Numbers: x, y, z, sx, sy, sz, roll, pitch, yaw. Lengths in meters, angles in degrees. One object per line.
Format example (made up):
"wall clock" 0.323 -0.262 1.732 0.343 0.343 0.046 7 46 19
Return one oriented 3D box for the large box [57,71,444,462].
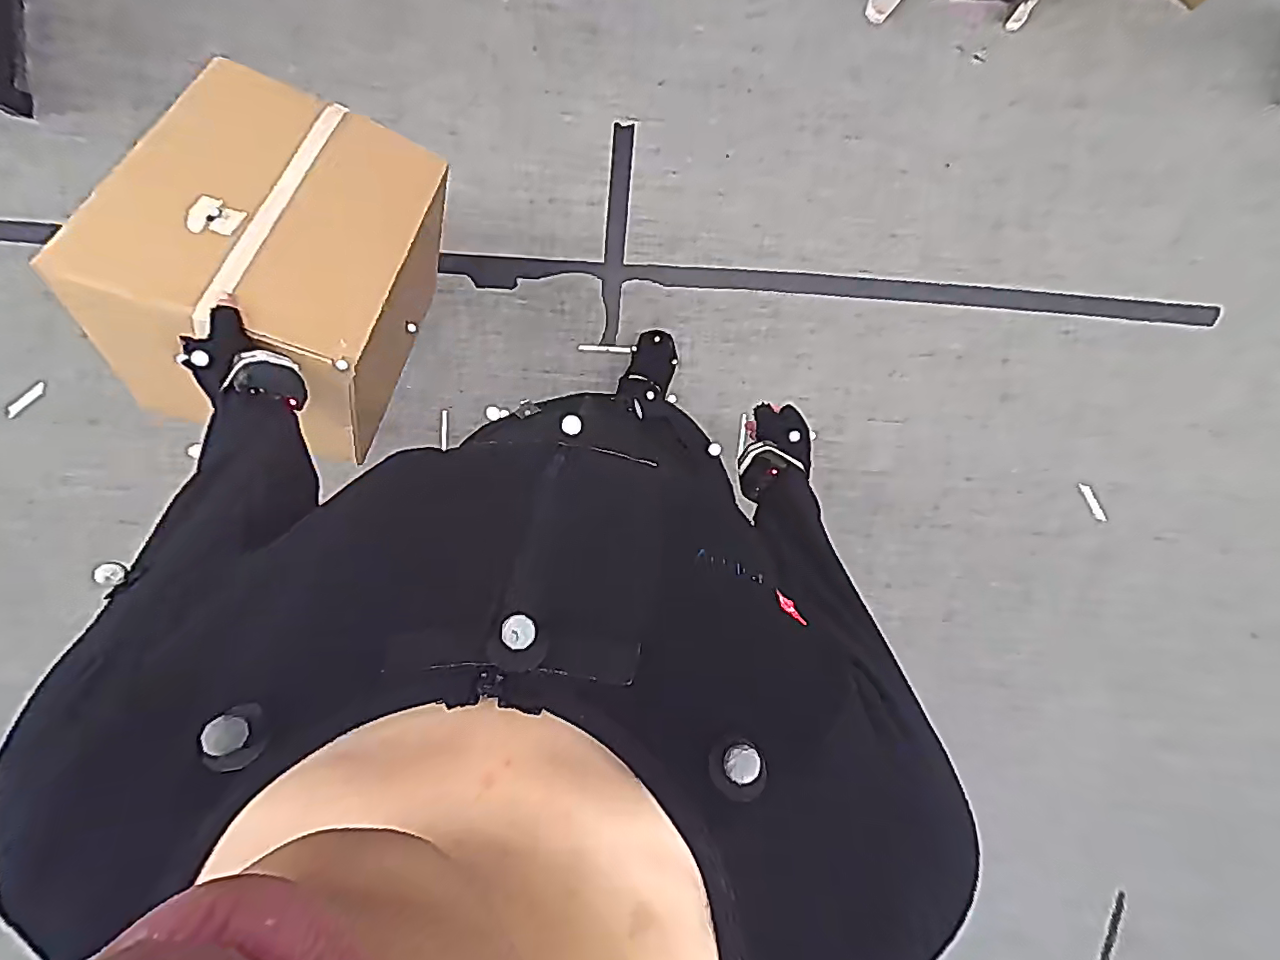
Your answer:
"large box" -0.524 -0.299 0.835 0.320 0.320 0.408 17 62 -17
